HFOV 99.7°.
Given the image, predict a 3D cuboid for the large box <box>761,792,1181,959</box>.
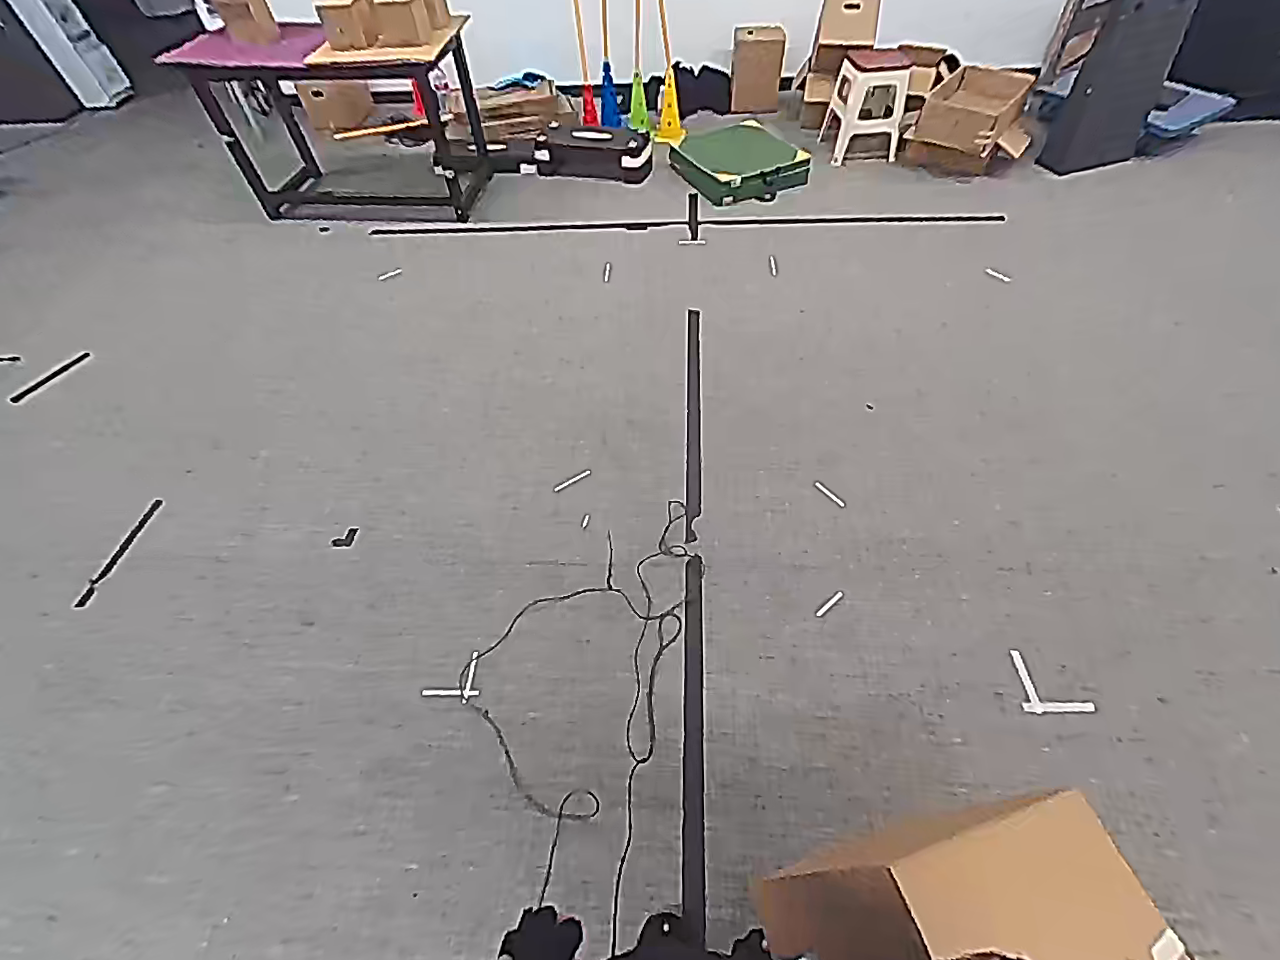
[{"bbox_3d":[0.420,0.654,0.713,0.320,0.408,0.320,-6,54,-18],"label":"large box"}]
